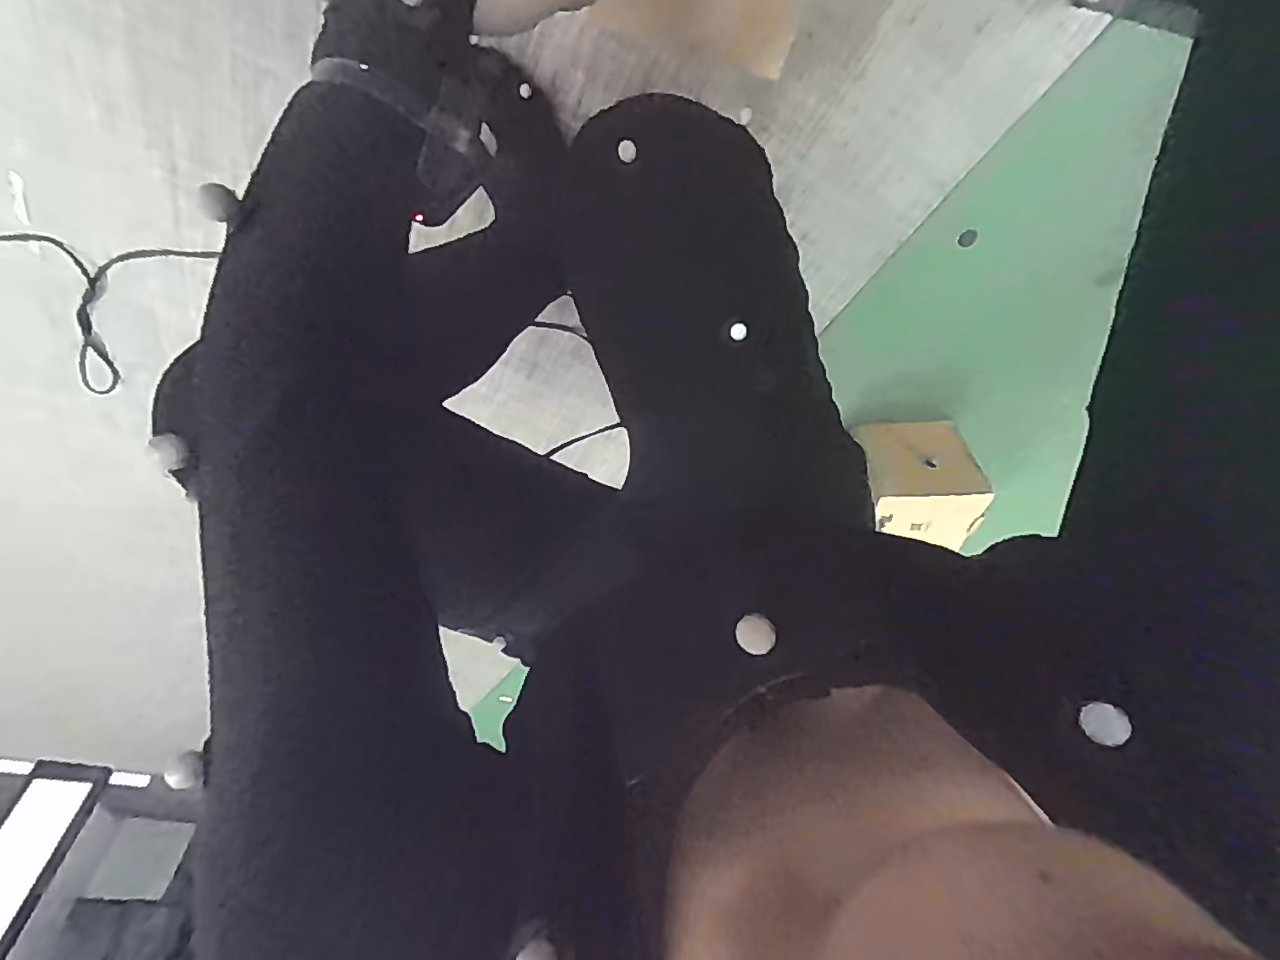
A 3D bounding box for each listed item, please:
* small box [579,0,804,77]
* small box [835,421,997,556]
[{"bbox_3d":[0.054,-0.453,0.411,0.168,0.176,0.179,9,138,-11],"label":"small box"},{"bbox_3d":[0.457,0.012,0.930,0.179,0.176,0.168,-3,138,3],"label":"small box"}]
